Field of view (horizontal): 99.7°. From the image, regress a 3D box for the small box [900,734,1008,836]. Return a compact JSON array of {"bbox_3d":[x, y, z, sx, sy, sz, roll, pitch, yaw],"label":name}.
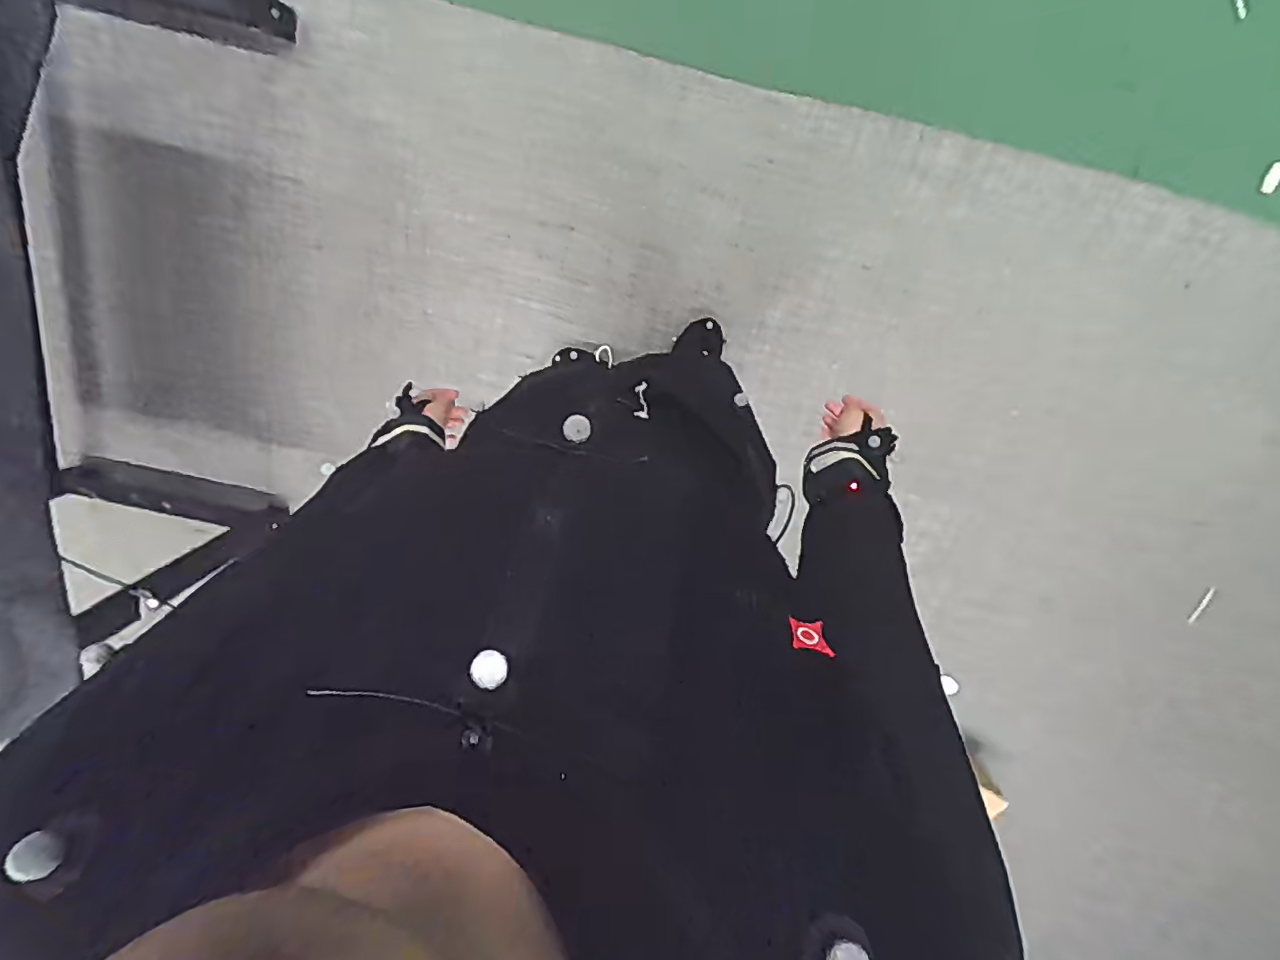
[{"bbox_3d":[0.908,0.883,1.579,0.179,0.176,0.168,31,108,-8],"label":"small box"}]
